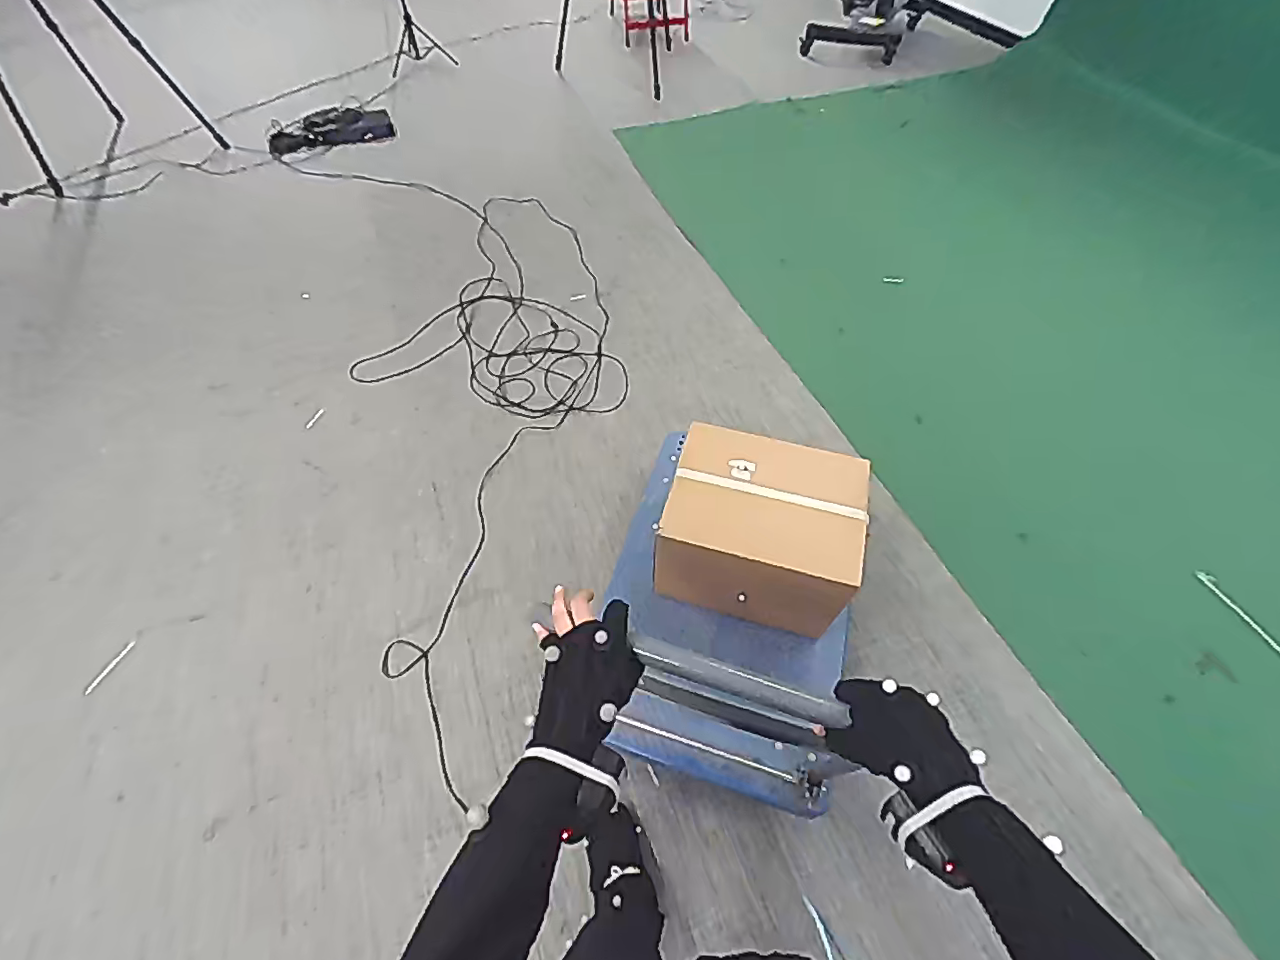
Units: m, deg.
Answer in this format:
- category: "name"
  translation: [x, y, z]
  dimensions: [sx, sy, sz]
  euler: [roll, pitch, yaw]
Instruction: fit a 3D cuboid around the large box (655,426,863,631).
- category: "large box"
  translation: [0.267, 0.119, 1.270]
  dimensions: [0.408, 0.320, 0.320]
  euler: [14, 56, 10]
